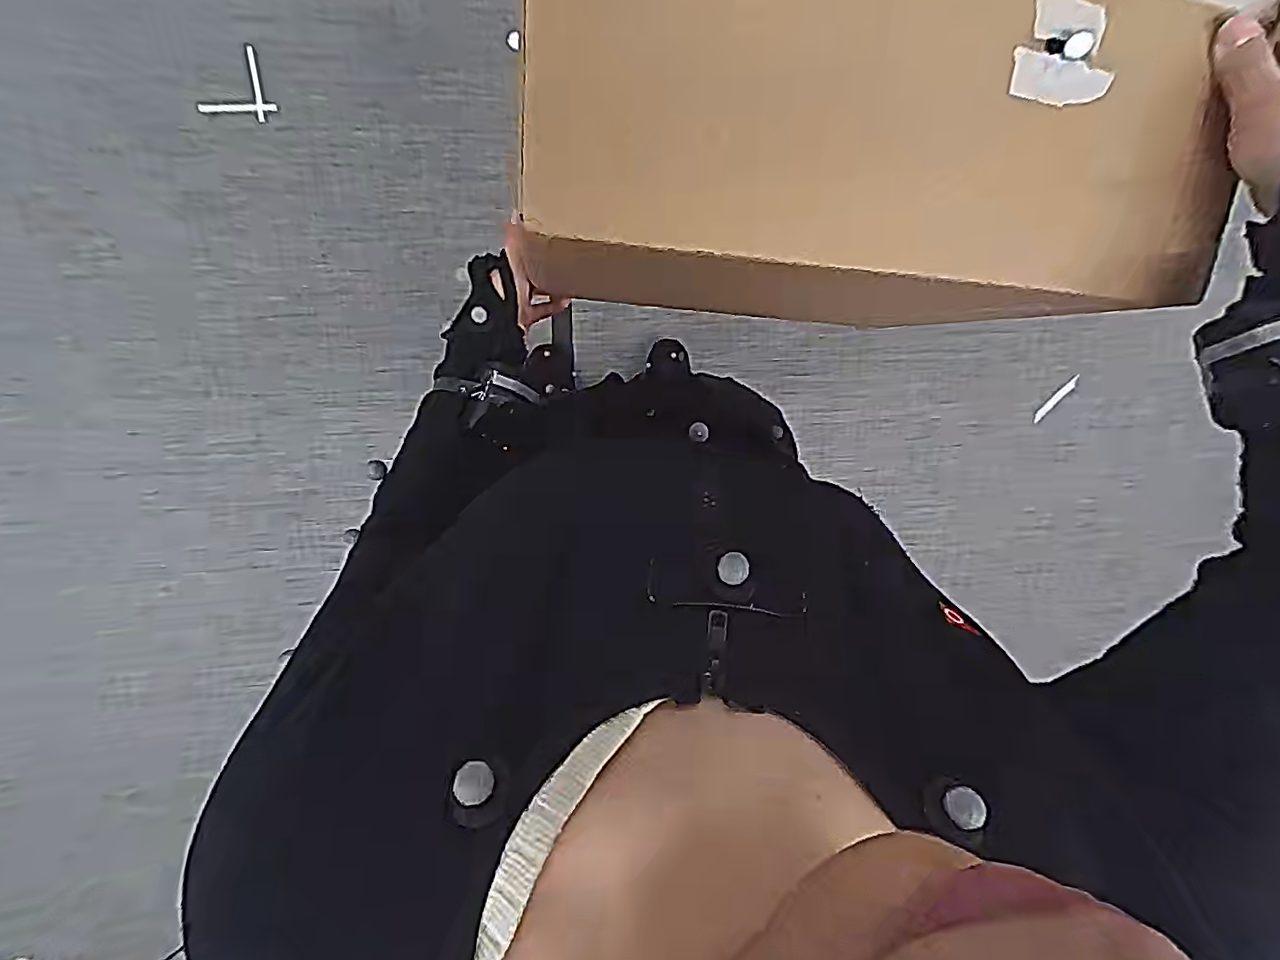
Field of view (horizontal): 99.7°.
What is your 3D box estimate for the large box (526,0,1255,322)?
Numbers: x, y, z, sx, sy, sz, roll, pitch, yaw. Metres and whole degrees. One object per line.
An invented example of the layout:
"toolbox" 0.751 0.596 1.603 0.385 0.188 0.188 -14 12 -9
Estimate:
"large box" 0.121 -0.299 0.411 0.408 0.320 0.320 1 103 -12
